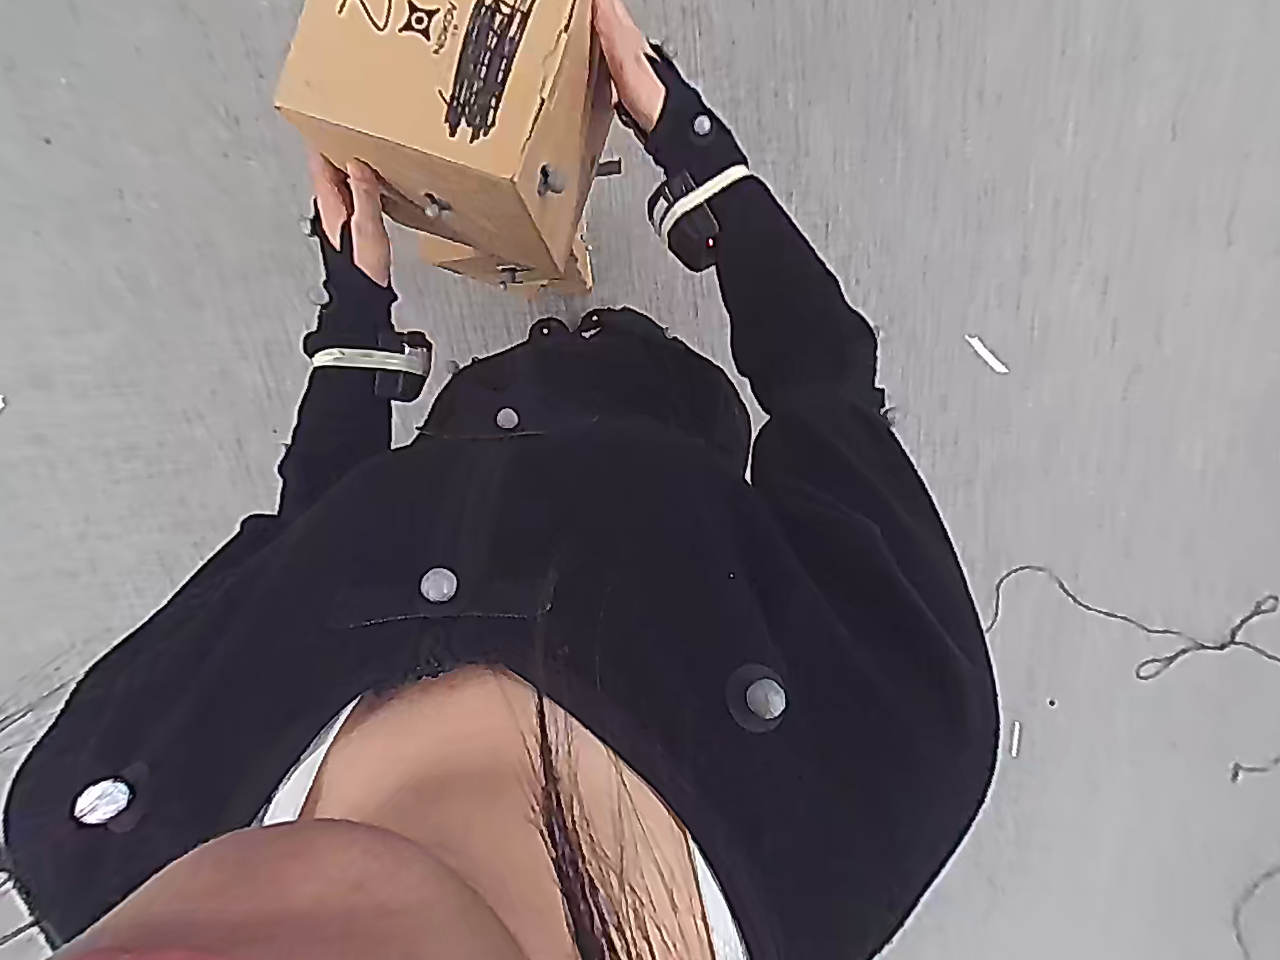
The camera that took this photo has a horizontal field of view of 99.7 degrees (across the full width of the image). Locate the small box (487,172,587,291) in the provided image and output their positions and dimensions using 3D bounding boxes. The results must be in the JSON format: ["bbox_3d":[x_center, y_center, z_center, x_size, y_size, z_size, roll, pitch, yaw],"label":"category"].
[{"bbox_3d":[-0.185,-0.433,0.963,0.168,0.176,0.179,-5,107,-2],"label":"small box"}]

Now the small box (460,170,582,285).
[{"bbox_3d":[-0.179,-0.390,0.805,0.168,0.176,0.179,-5,105,-2],"label":"small box"}]

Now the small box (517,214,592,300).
[{"bbox_3d":[-0.208,-0.521,1.278,0.179,0.176,0.168,-6,106,-2],"label":"small box"}]

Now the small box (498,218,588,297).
[{"bbox_3d":[-0.204,-0.473,1.121,0.179,0.176,0.168,-4,107,-2],"label":"small box"}]

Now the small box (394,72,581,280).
[{"bbox_3d":[-0.166,-0.347,0.649,0.168,0.176,0.179,-7,107,0],"label":"small box"}]
